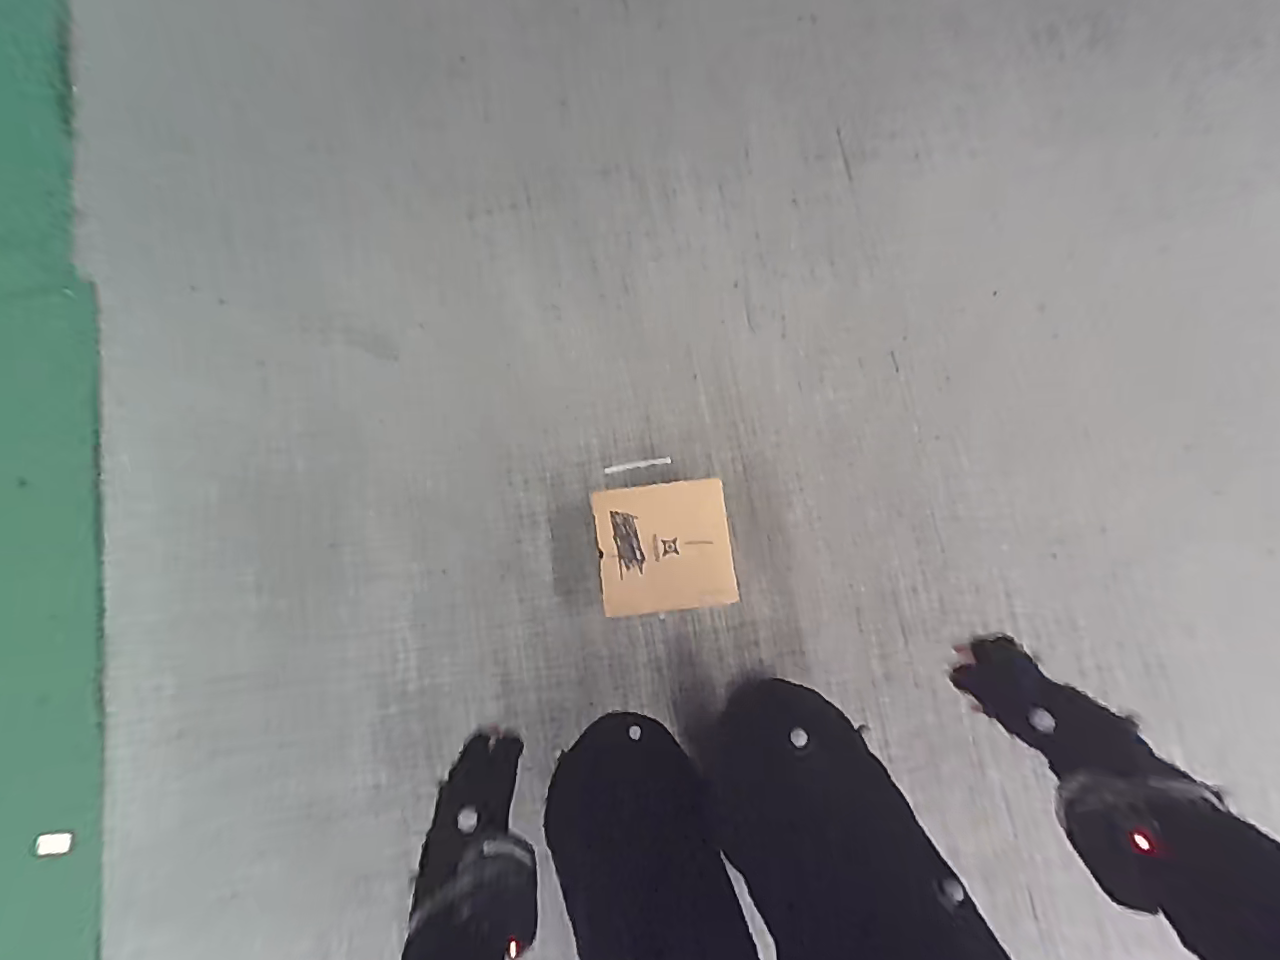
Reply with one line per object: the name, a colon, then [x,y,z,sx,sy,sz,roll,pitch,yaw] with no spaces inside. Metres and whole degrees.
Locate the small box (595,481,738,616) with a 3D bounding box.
small box: [0.036,0.103,0.791,0.179,0.176,0.168,-7,81,0]
